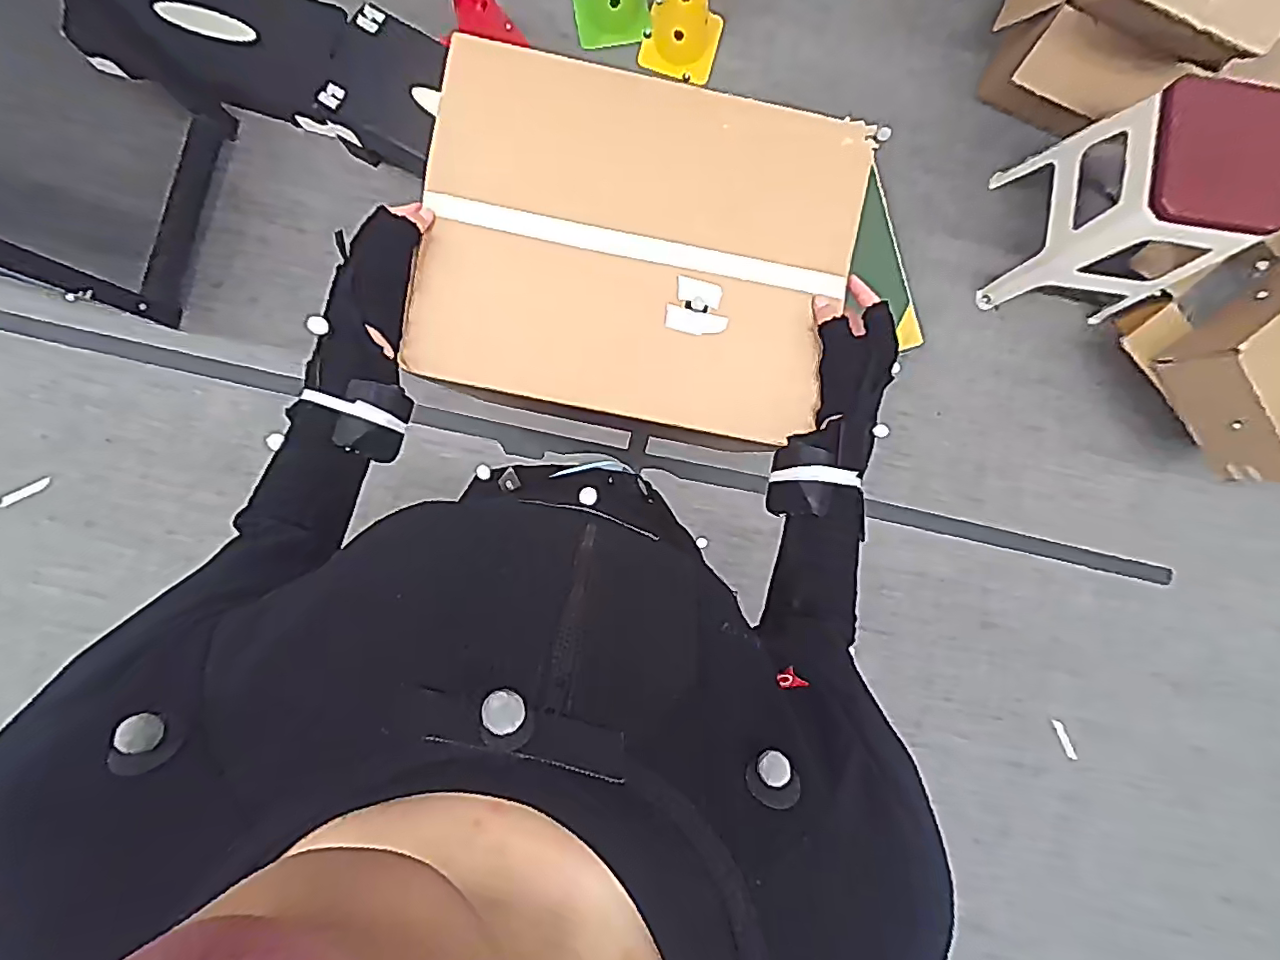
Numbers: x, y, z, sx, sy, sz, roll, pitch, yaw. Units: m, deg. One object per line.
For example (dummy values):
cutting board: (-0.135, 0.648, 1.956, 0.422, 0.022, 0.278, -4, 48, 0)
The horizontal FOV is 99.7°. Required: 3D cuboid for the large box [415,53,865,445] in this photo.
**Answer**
large box: (-0.007, -0.231, 0.676, 0.408, 0.320, 0.320, 11, 93, -3)
